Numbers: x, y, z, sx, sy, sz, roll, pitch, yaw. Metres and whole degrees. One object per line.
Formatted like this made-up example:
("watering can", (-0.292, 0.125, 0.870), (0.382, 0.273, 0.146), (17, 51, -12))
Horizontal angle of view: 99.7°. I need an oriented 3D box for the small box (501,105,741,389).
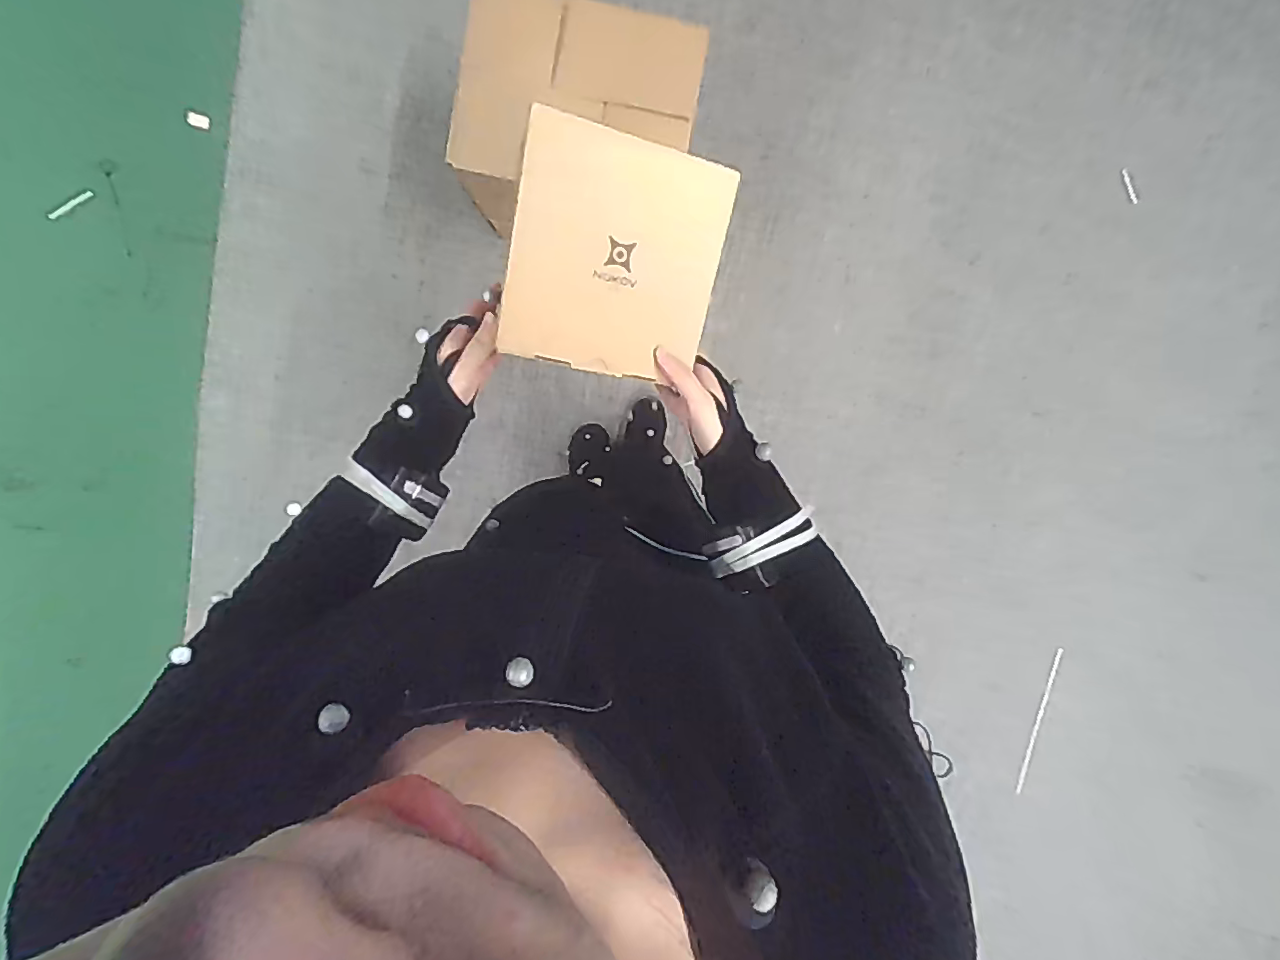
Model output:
("small box", (-0.034, -0.198, 0.499), (0.168, 0.176, 0.179), (9, 107, -17))
